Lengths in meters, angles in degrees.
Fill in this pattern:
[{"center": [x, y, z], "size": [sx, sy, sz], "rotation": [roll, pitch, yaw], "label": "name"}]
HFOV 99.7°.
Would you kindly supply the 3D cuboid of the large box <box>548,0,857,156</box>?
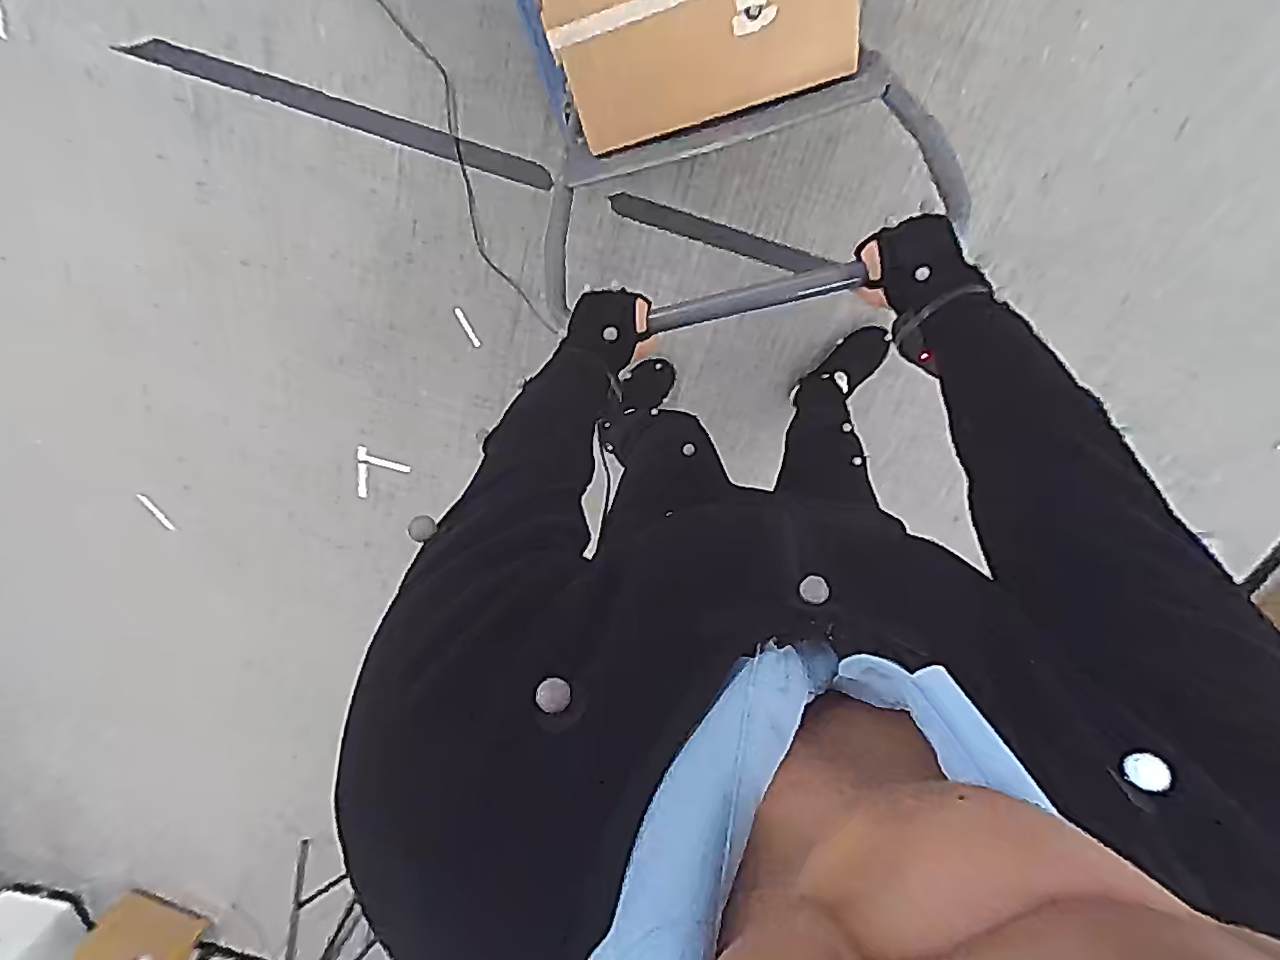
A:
[{"center": [0.076, -0.766, 0.819], "size": [0.408, 0.320, 0.320], "rotation": [-12, 137, 12], "label": "large box"}]
